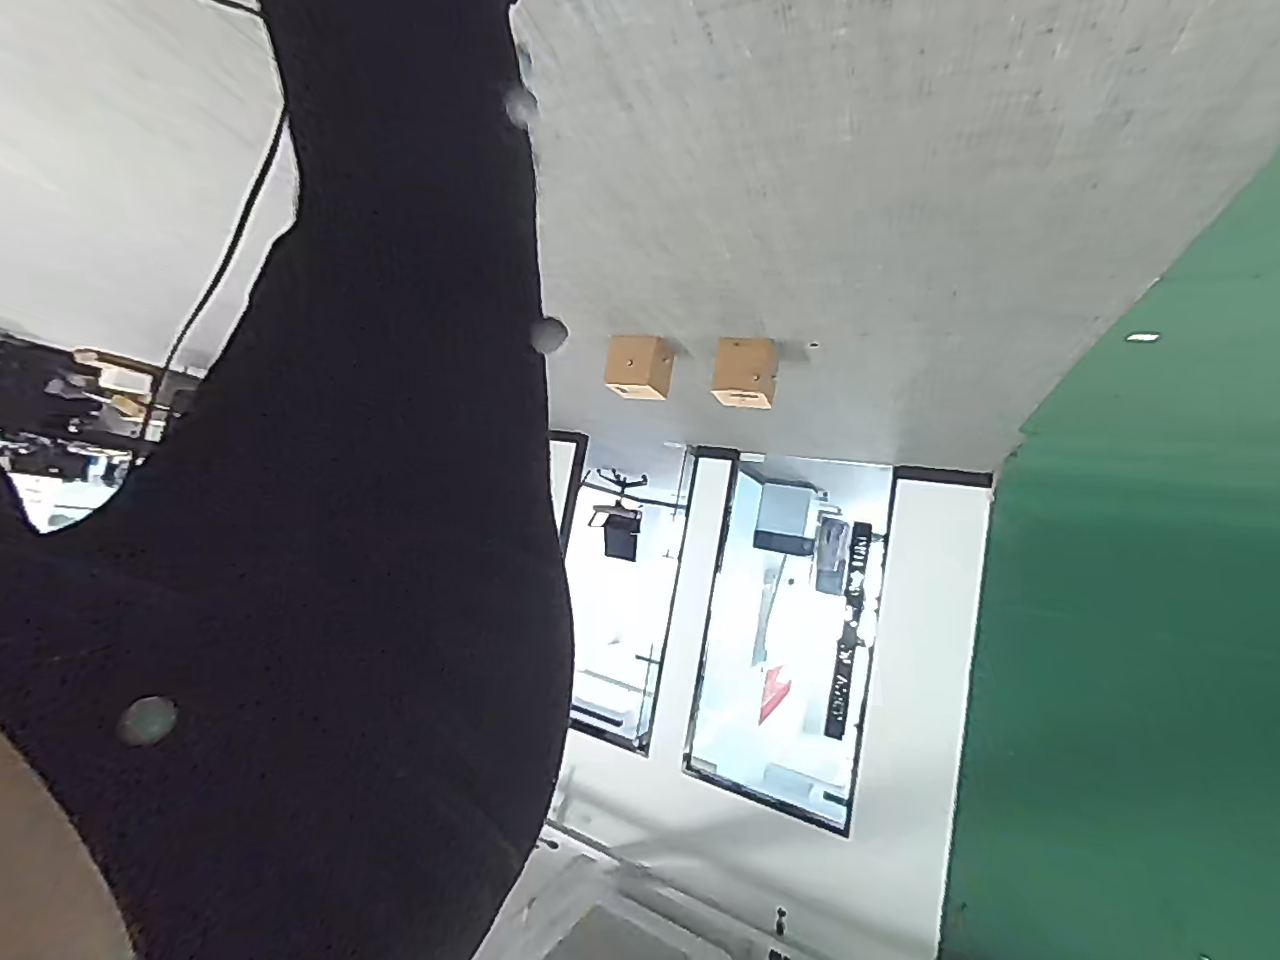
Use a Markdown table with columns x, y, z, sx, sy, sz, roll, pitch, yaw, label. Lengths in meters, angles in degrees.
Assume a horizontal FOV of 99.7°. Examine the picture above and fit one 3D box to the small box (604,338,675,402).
| x | y | z | sx | sy | sz | roll | pitch | yaw | label |
| --- | --- | --- | --- | --- | --- | --- | --- | --- | --- |
| 0.003 | -0.375 | 1.833 | 0.179 | 0.176 | 0.168 | 7 | 174 | 26 | small box |
